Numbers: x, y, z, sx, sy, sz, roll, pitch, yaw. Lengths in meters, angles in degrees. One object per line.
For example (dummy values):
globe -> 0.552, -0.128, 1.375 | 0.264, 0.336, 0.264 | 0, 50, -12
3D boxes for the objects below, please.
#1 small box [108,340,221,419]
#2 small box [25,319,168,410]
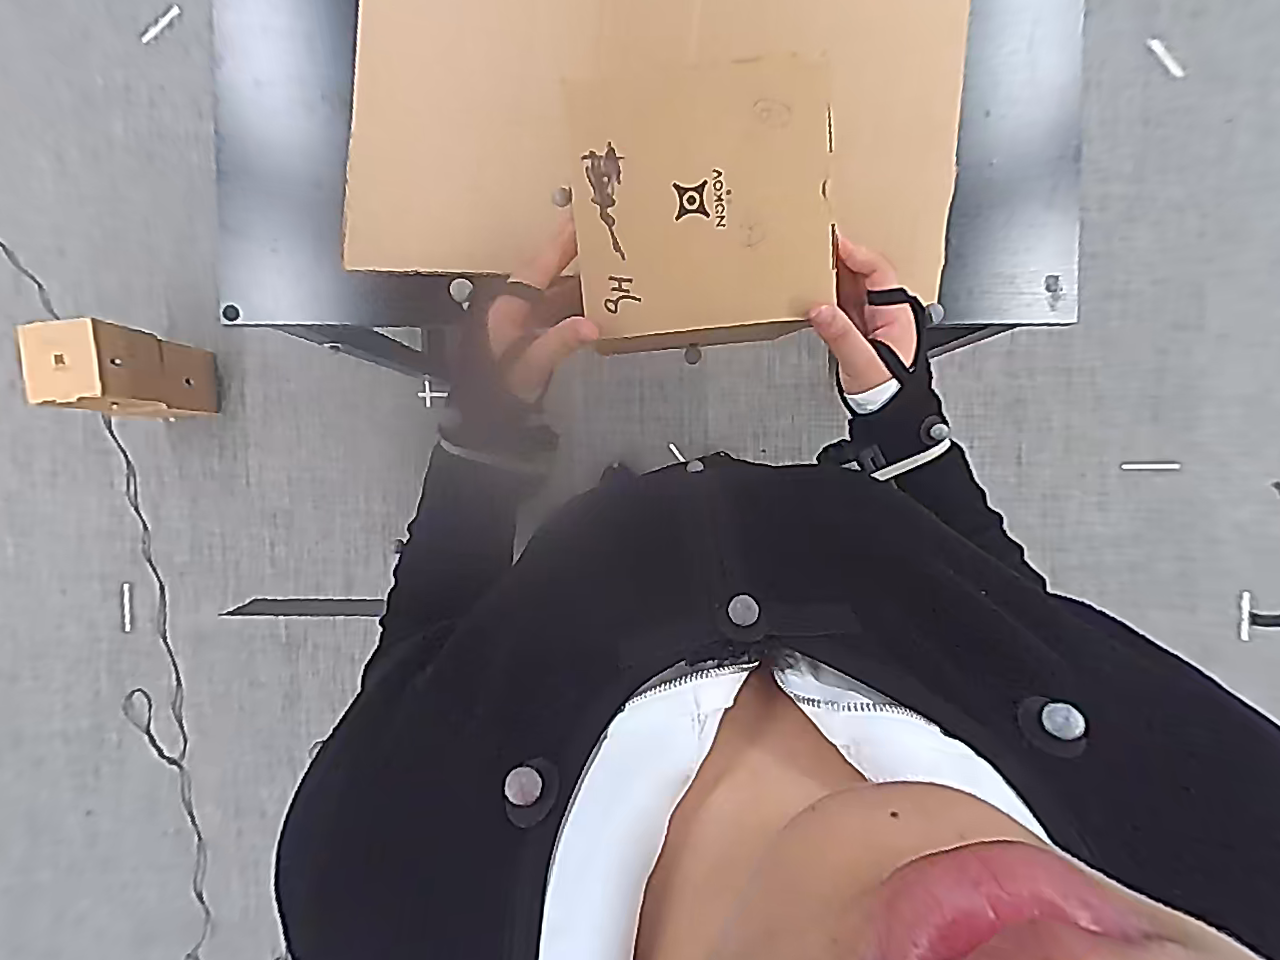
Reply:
small box -> -1.256, -0.260, 1.430 | 0.168, 0.176, 0.179 | -4, 92, 1
small box -> -1.259, -0.261, 1.267 | 0.168, 0.176, 0.179 | -7, 91, 0
